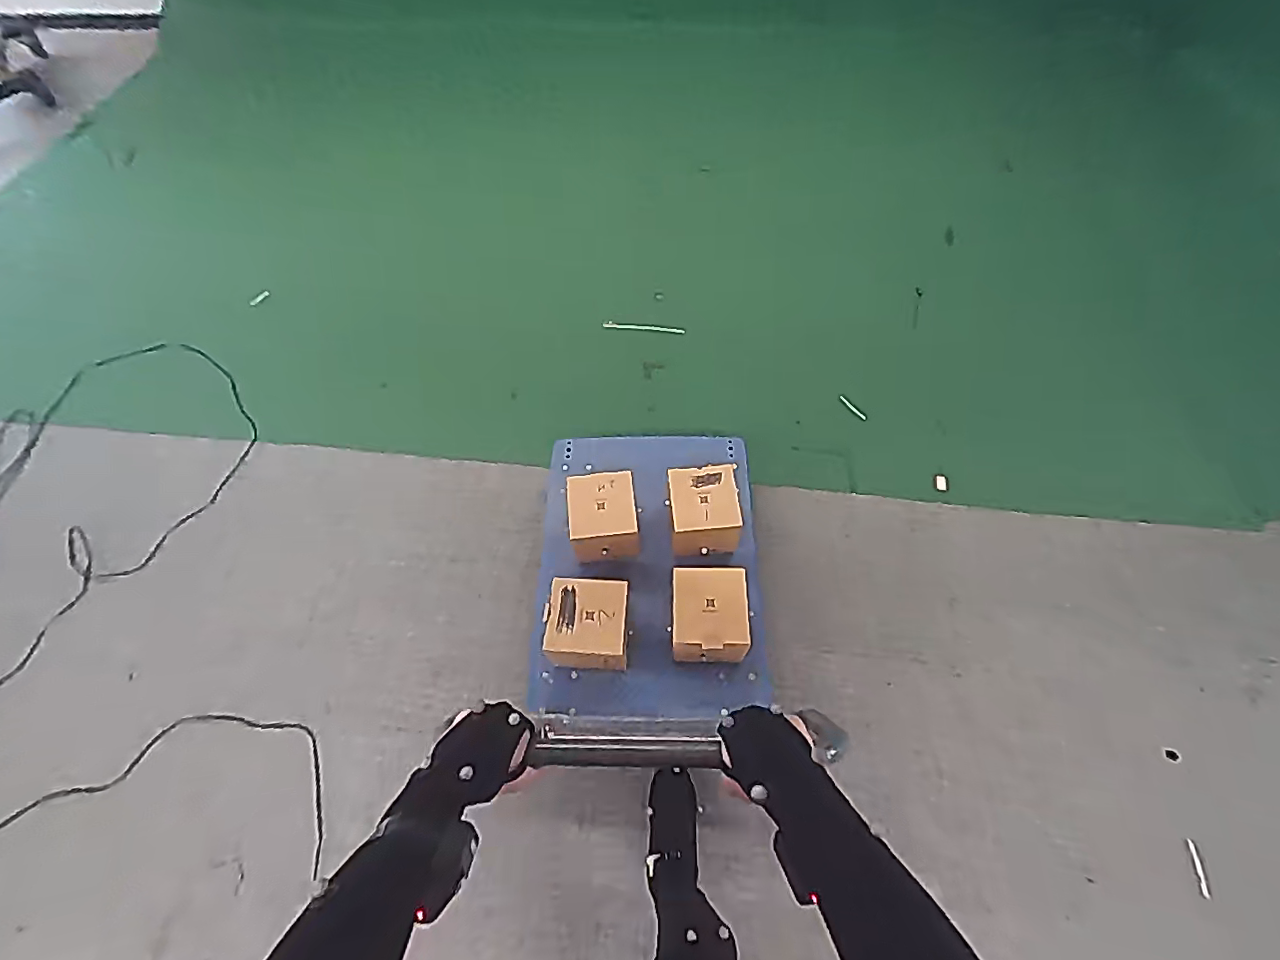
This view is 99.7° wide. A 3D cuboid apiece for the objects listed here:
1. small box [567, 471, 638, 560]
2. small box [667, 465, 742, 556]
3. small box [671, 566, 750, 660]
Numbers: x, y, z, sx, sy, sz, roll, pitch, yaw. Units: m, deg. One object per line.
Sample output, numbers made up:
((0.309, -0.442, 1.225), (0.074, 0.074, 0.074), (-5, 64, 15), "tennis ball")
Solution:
((-0.094, 0.098, 1.400), (0.168, 0.176, 0.179), (-5, 60, -2), "small box")
((0.160, 0.081, 1.399), (0.168, 0.176, 0.179), (-5, 60, 0), "small box")
((0.158, 0.314, 1.268), (0.168, 0.176, 0.179), (0, 61, 2), "small box")
